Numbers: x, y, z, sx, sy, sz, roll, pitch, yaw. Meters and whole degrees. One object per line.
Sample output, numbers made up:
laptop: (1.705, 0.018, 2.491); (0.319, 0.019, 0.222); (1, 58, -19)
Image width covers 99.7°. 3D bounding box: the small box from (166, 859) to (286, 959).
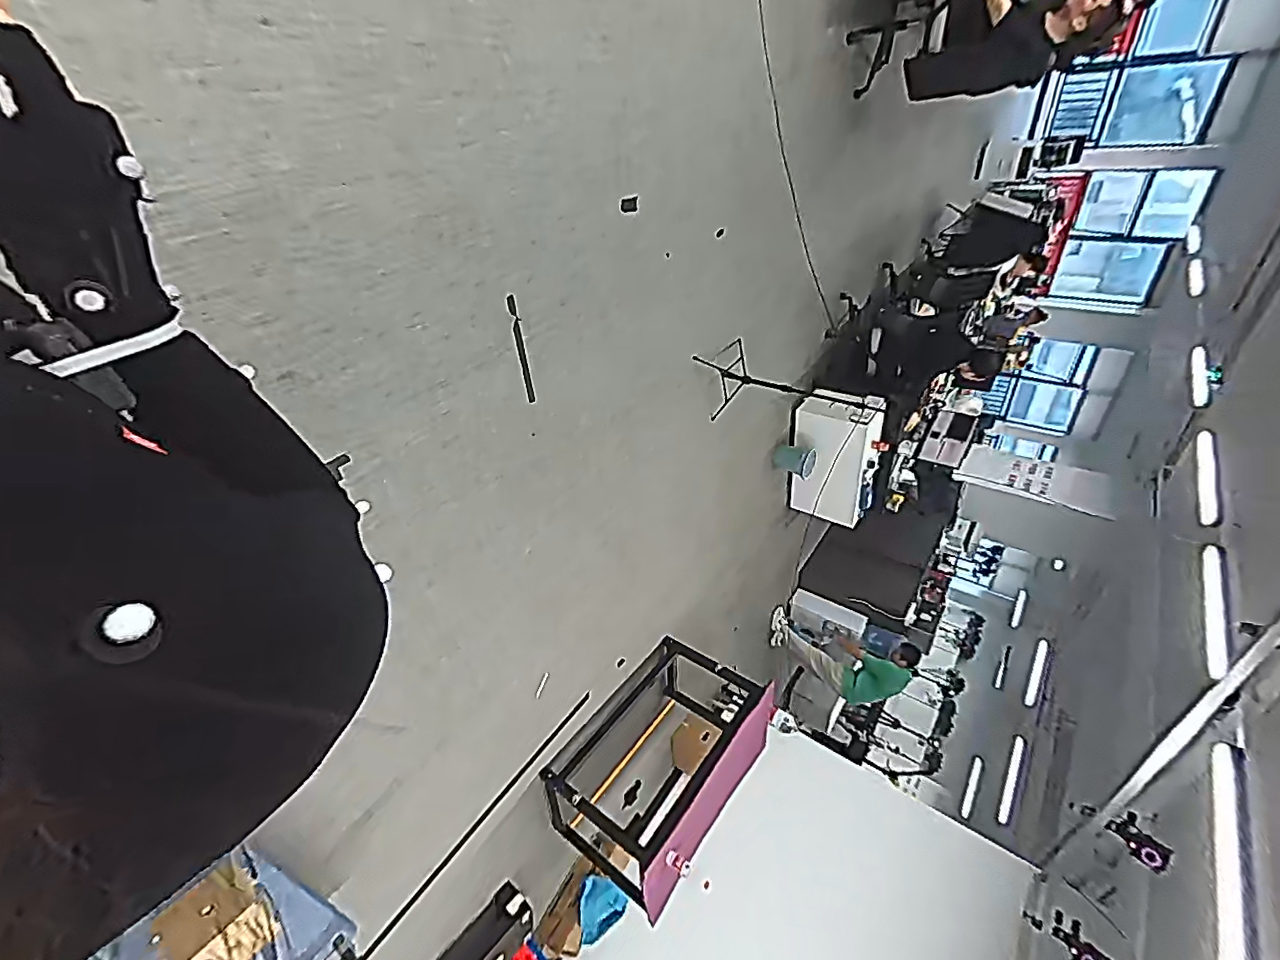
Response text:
small box: (-1.048, 1.120, 1.364); (0.179, 0.176, 0.168); (-38, 136, -41)
